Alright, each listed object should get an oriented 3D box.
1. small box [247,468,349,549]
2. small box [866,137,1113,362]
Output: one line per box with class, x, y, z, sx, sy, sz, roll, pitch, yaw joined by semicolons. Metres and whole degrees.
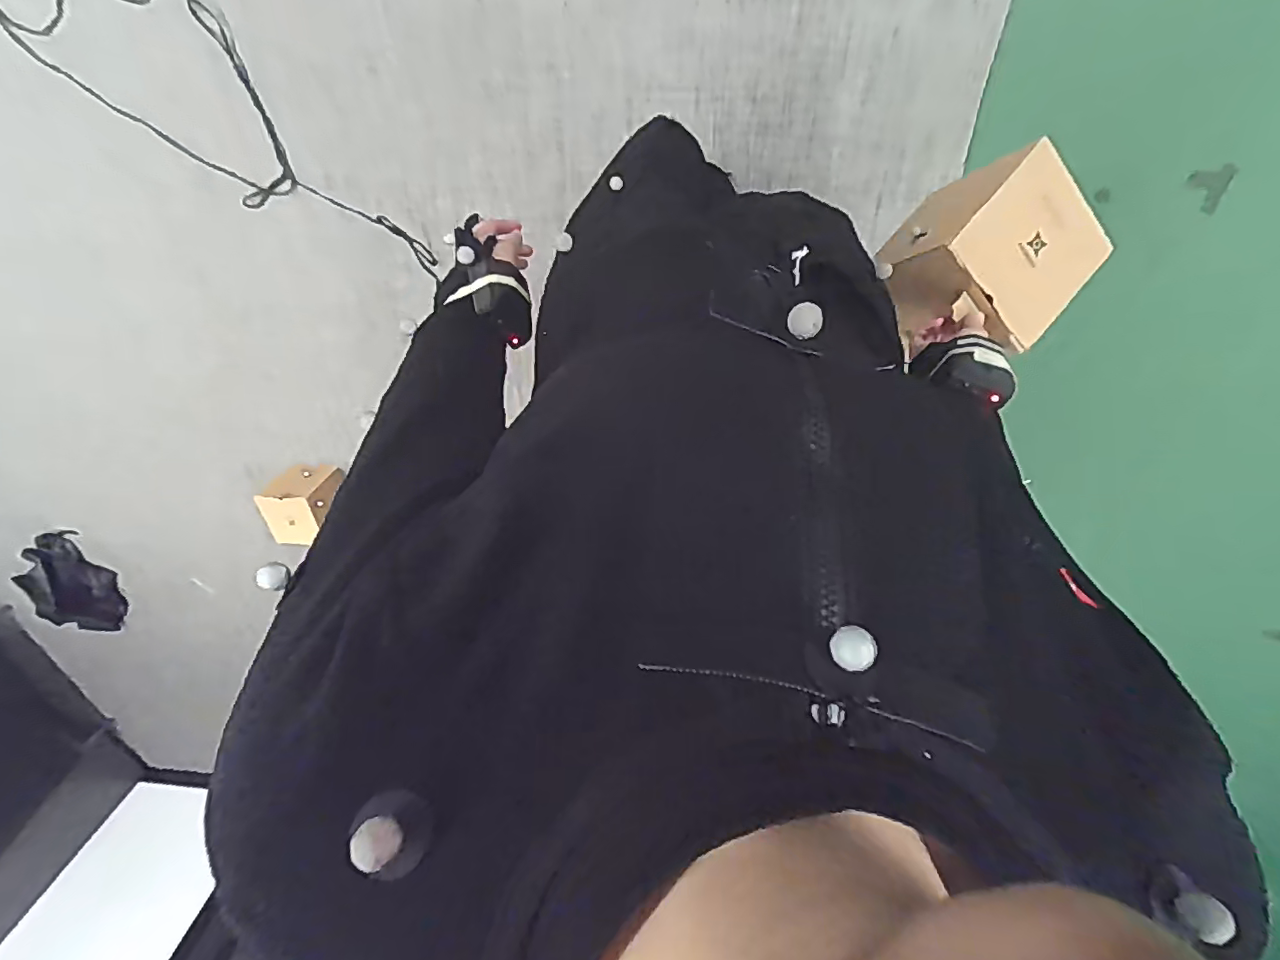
small box;-1.004;0.083;1.610;0.168;0.176;0.179;2;123;7
small box;0.419;-0.267;0.678;0.168;0.176;0.179;43;84;-16
